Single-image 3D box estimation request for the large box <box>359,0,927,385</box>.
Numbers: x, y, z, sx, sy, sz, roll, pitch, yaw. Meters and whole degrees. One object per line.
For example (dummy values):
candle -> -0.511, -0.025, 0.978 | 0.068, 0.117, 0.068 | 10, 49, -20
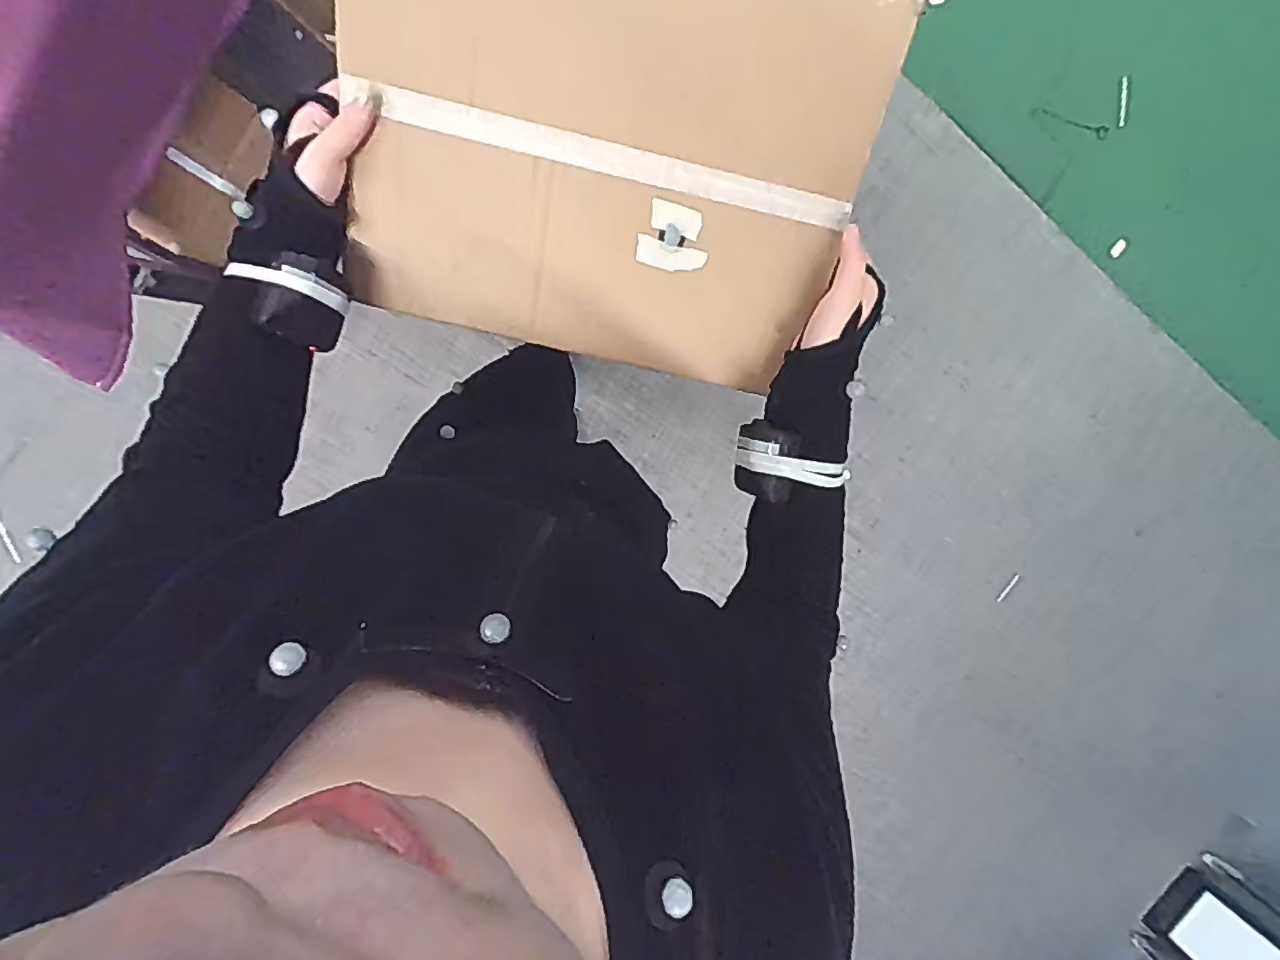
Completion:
large box -> -0.020, -0.322, 0.560 | 0.408, 0.320, 0.320 | 12, 116, -5
